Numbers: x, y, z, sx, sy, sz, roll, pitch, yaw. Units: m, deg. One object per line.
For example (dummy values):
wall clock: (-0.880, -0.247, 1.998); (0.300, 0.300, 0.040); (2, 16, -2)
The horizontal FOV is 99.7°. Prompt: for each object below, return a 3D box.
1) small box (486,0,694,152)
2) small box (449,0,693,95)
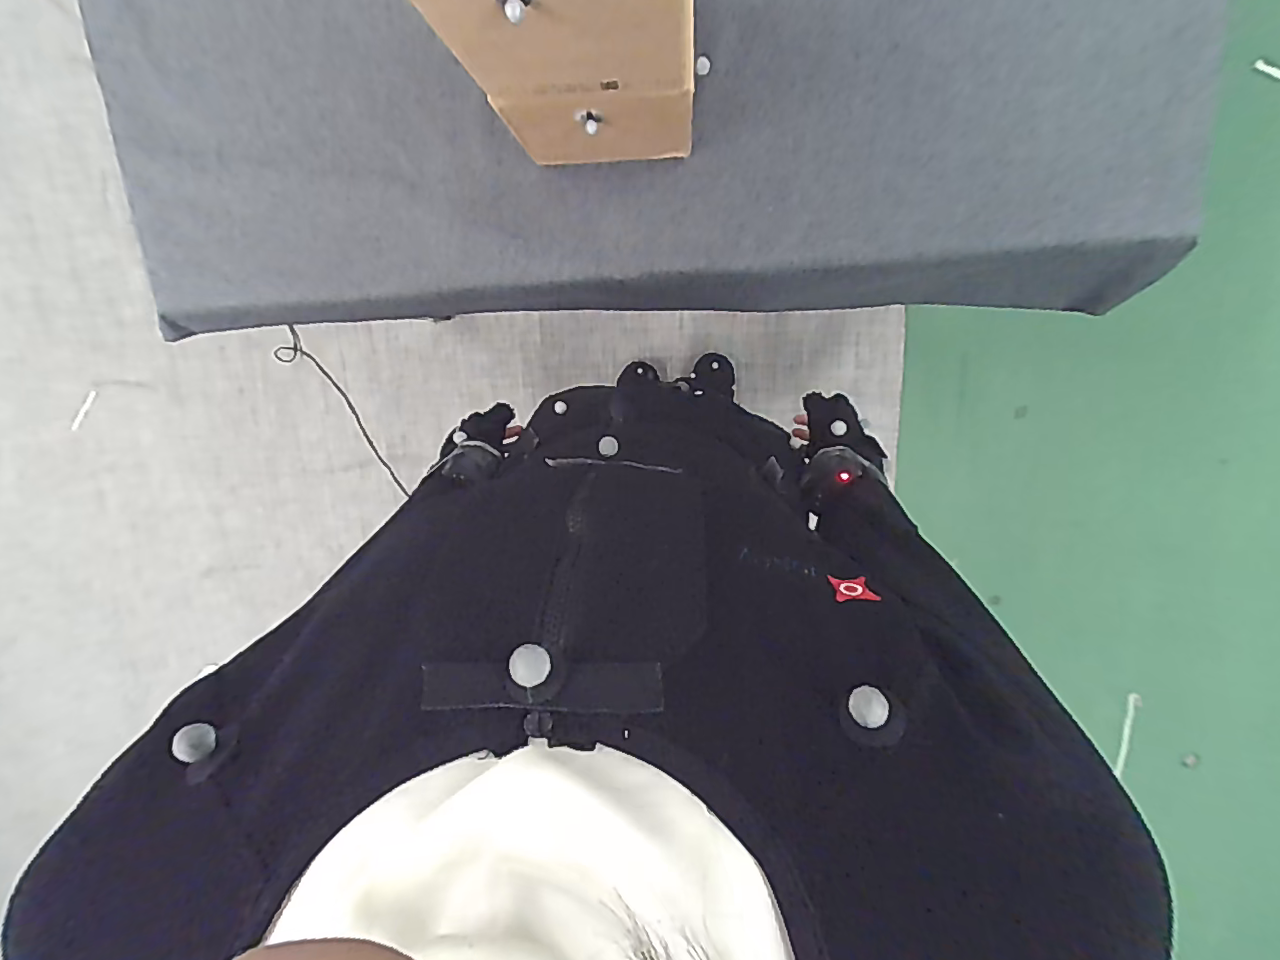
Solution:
small box: (-0.038, -0.429, 0.511); (0.179, 0.176, 0.168); (-1, 104, 4)
small box: (-0.049, -0.393, 0.355); (0.168, 0.176, 0.179); (-2, 105, 5)
